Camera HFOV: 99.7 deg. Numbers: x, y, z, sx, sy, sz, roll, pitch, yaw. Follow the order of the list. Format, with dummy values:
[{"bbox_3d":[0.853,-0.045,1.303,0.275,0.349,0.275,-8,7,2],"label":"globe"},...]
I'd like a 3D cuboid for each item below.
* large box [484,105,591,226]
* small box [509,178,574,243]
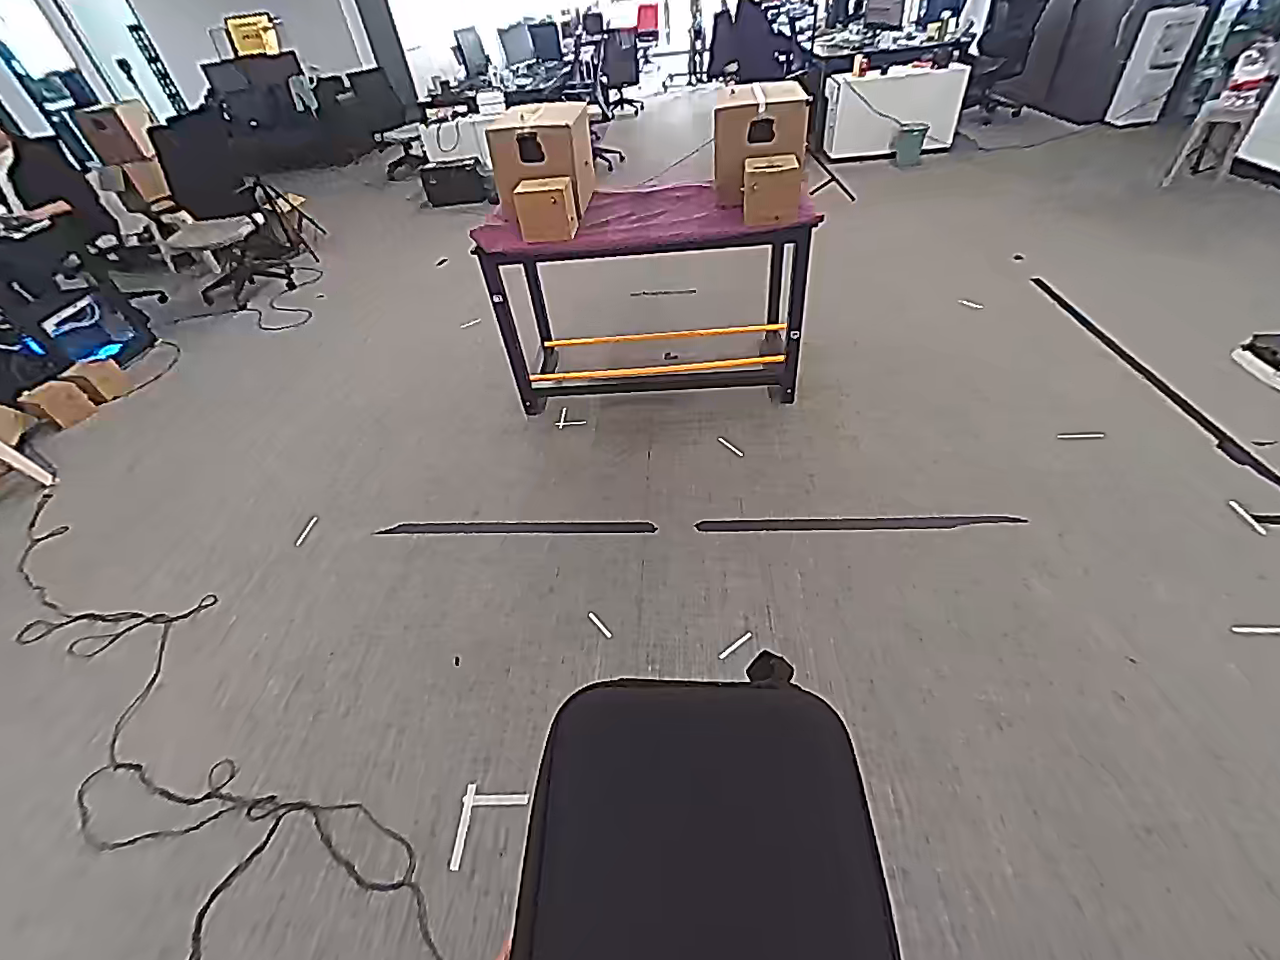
[{"bbox_3d":[-0.378,-1.235,2.118,0.320,0.320,0.408,-1,46,5],"label":"large box"},{"bbox_3d":[-0.342,-0.949,1.910,0.179,0.176,0.168,-2,42,5],"label":"small box"}]
